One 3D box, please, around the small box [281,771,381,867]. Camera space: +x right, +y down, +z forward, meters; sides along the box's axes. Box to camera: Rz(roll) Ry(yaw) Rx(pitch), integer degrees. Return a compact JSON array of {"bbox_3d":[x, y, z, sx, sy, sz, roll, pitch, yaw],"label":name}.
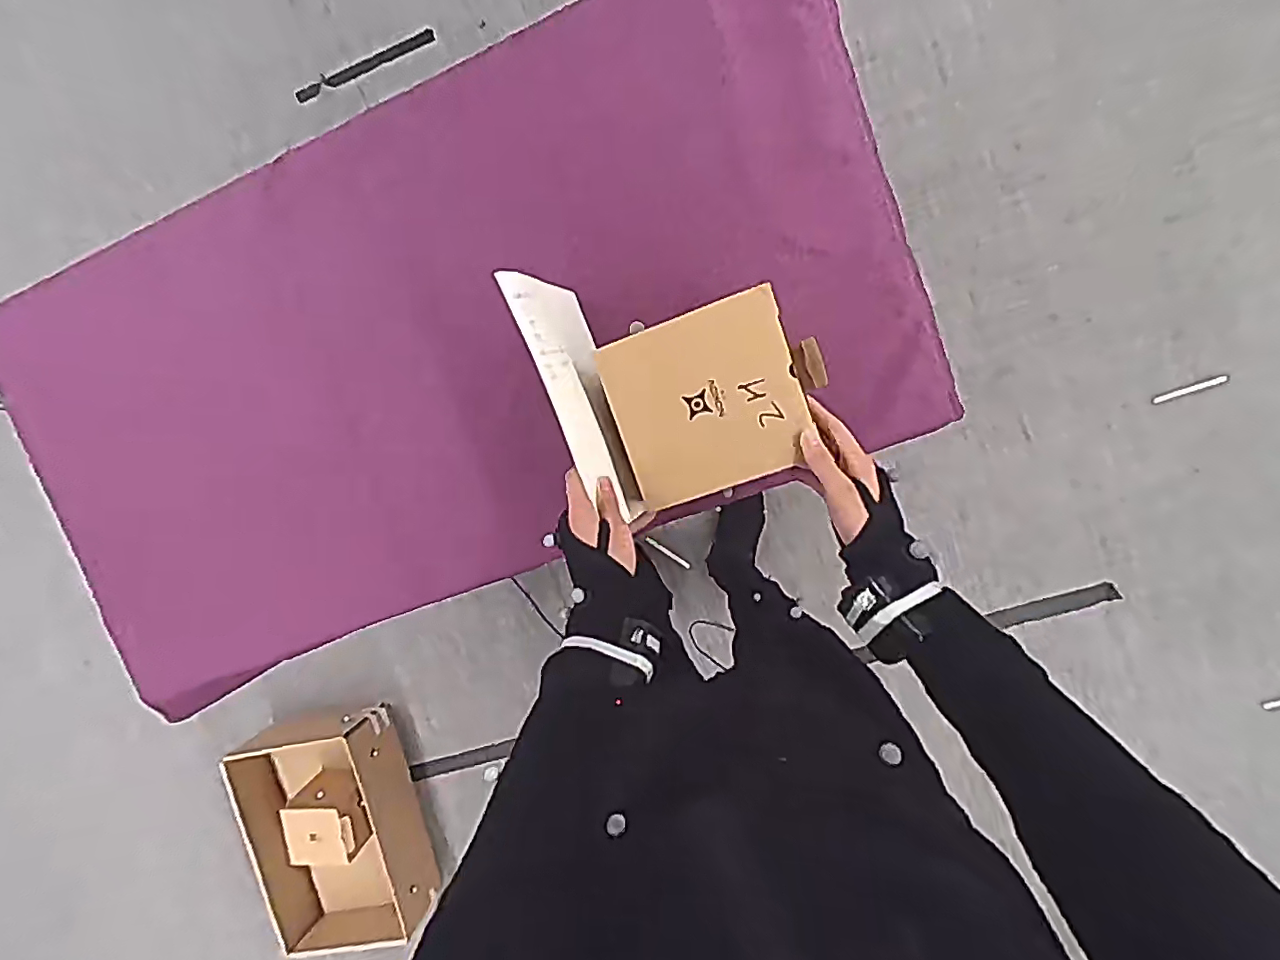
[{"bbox_3d":[-0.849,0.938,1.508,0.179,0.176,0.168,-6,97,8],"label":"small box"}]
